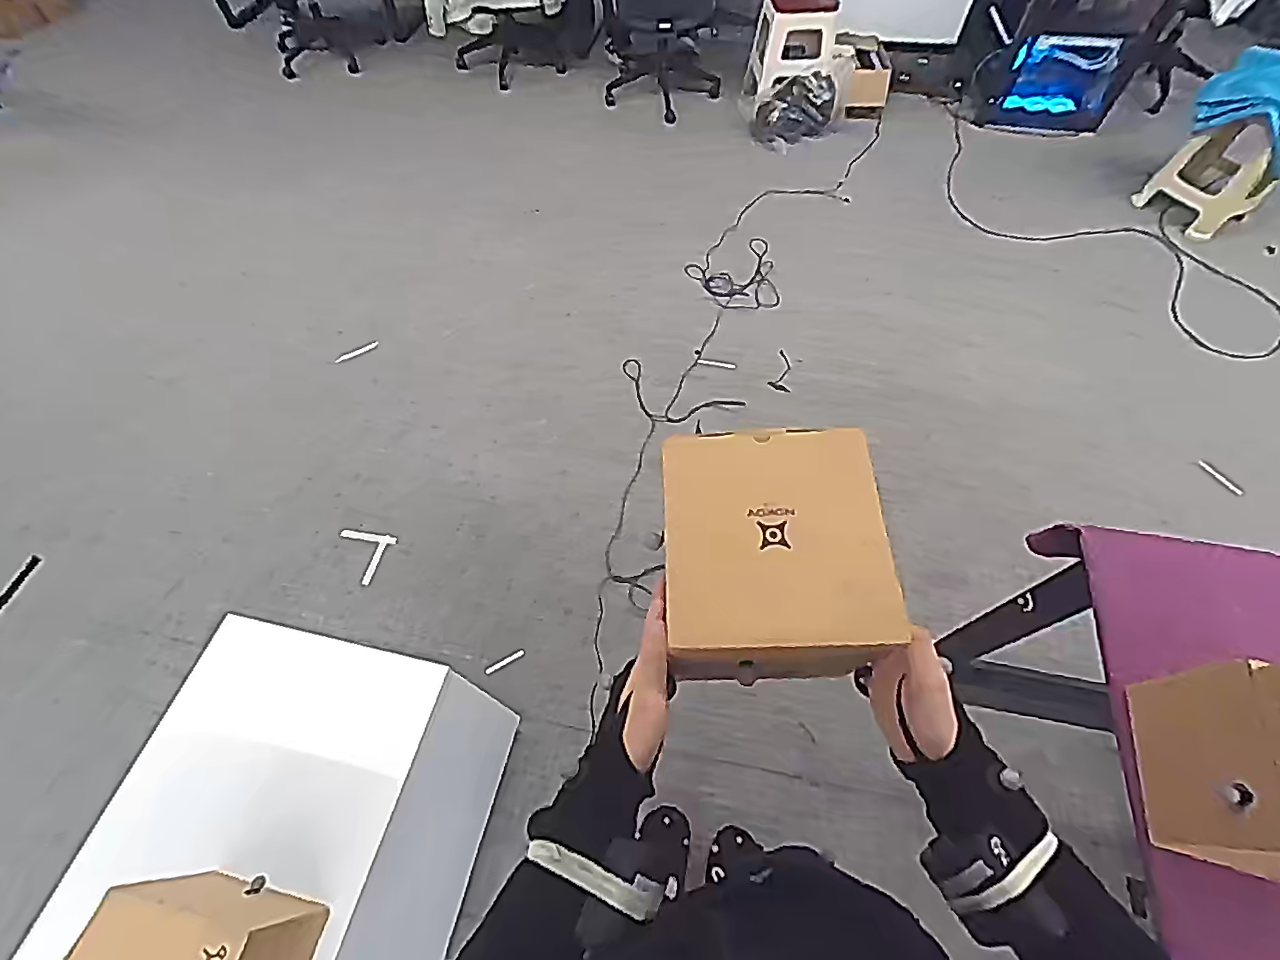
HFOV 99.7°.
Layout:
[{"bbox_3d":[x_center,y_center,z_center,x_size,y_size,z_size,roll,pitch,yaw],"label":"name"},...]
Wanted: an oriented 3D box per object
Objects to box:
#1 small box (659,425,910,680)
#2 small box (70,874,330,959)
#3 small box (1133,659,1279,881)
[{"bbox_3d":[0.104,0.074,0.472,0.168,0.176,0.179,-3,61,3],"label":"small box"},{"bbox_3d":[-0.495,0.555,0.595,0.179,0.176,0.168,10,59,8],"label":"small box"},{"bbox_3d":[0.669,0.311,0.558,0.168,0.176,0.179,14,60,9],"label":"small box"}]
